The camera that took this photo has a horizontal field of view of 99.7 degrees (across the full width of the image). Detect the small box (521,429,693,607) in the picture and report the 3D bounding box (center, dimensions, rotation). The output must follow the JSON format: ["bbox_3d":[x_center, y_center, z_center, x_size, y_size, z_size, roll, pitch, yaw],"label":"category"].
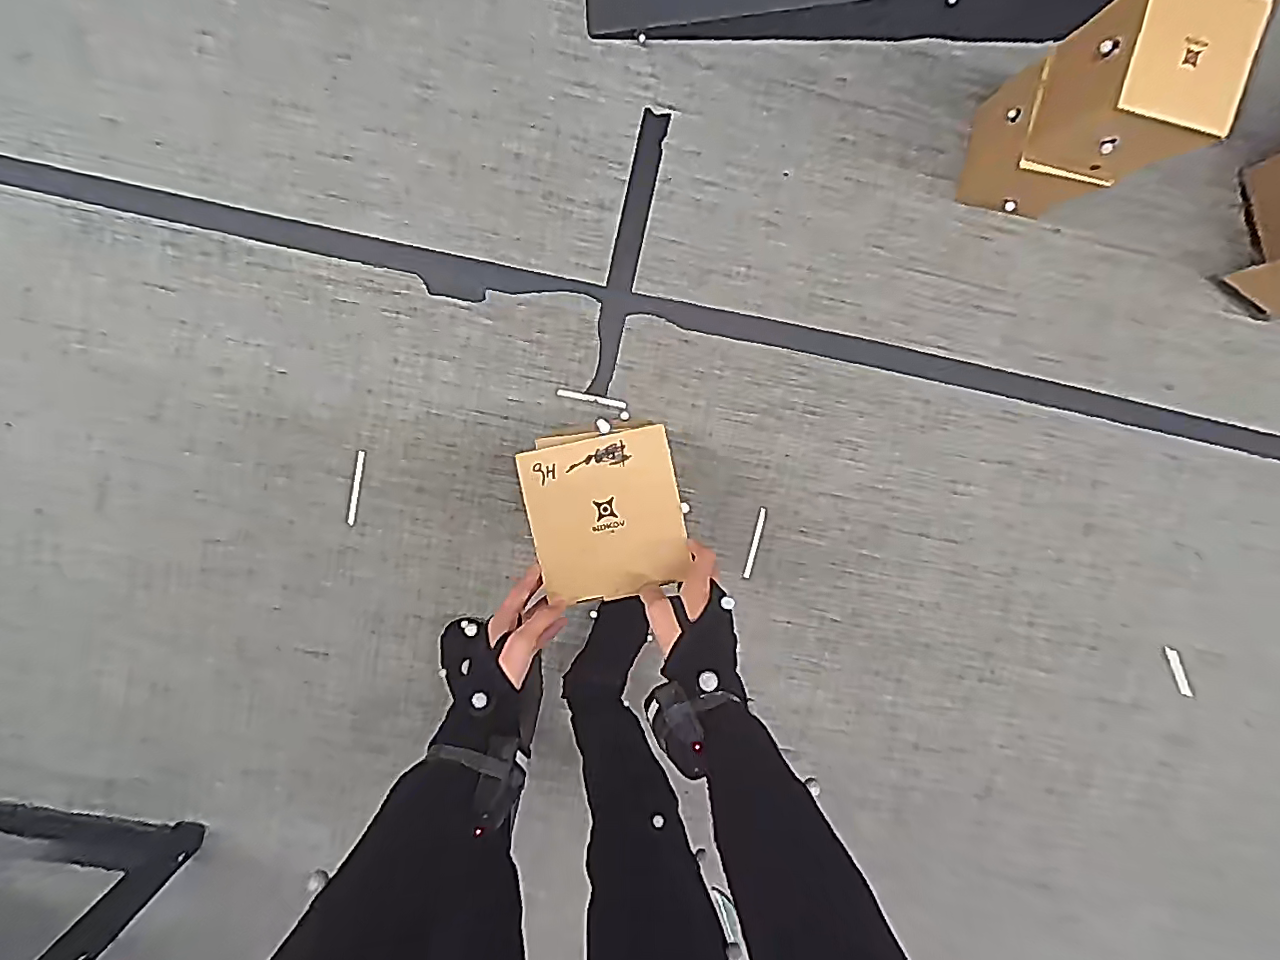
[{"bbox_3d":[-0.035,0.036,0.671,0.168,0.176,0.179,-11,95,0],"label":"small box"}]
